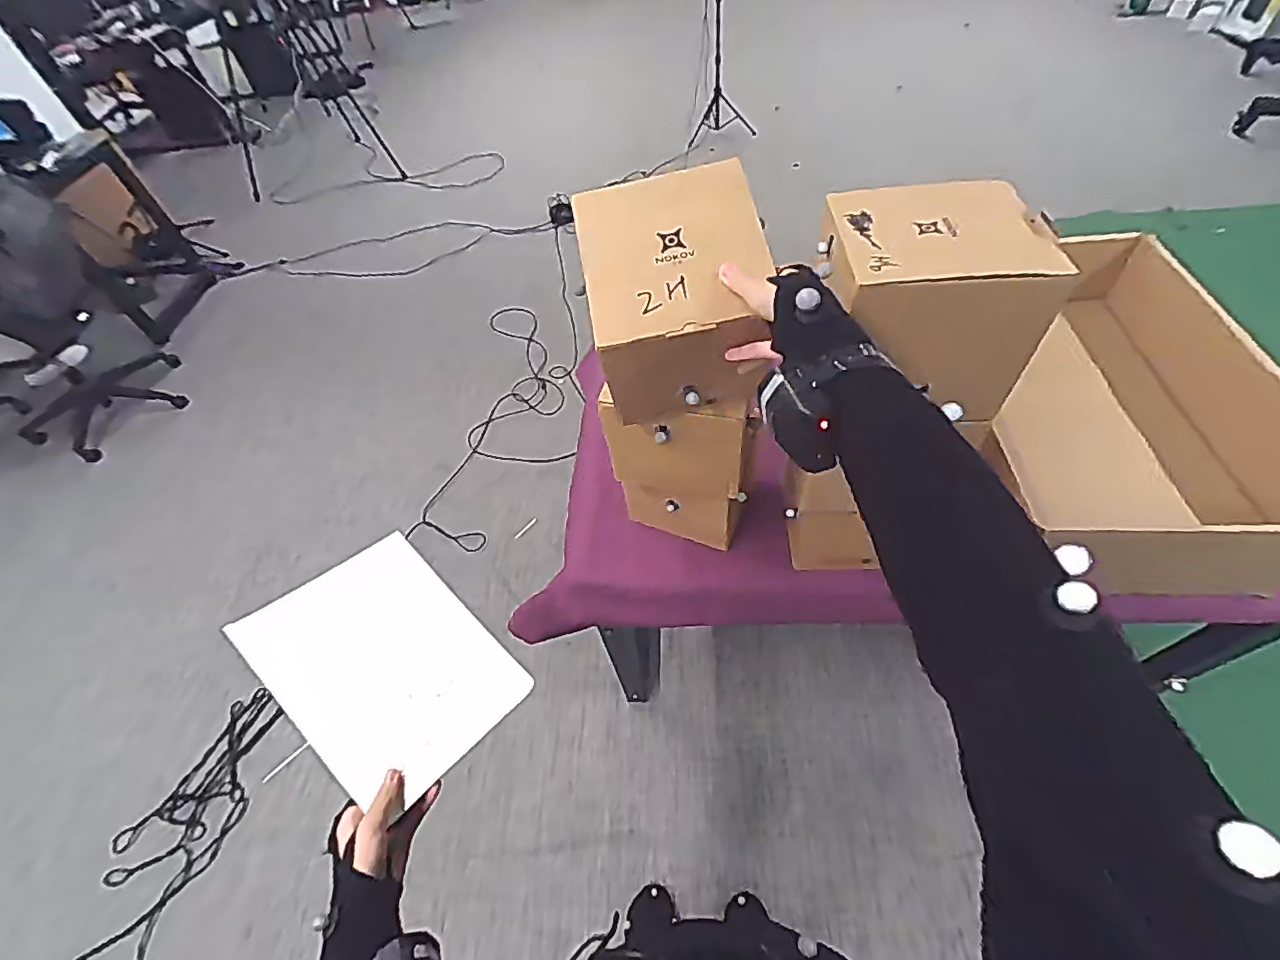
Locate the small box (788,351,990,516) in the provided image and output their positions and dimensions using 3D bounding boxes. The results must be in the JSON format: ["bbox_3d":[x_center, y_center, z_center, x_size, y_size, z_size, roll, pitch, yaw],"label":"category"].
[{"bbox_3d":[0.292,-0.067,0.681,0.179,0.176,0.168,-1,51,7],"label":"small box"}]

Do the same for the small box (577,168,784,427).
[{"bbox_3d":[0.038,-0.179,0.566,0.168,0.176,0.179,-11,70,3],"label":"small box"}]

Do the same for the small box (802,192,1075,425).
[{"bbox_3d":[0.276,-0.169,0.553,0.179,0.176,0.168,0,50,6],"label":"small box"}]
